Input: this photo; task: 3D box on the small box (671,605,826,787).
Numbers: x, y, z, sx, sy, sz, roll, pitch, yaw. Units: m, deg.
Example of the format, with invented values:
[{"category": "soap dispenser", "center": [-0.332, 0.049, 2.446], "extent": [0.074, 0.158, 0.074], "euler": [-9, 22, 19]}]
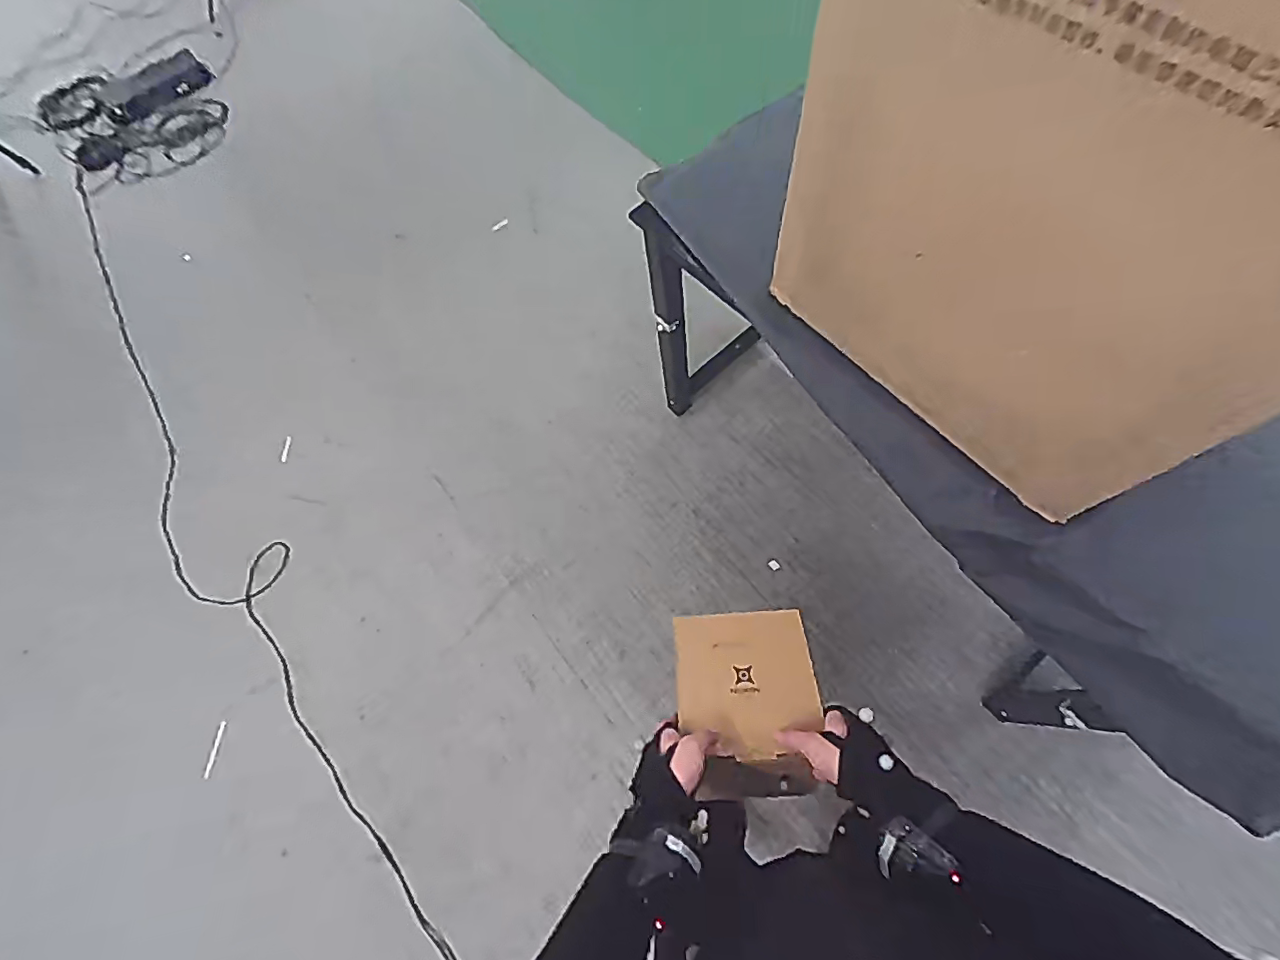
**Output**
[{"category": "small box", "center": [0.130, 0.286, 0.705], "extent": [0.168, 0.176, 0.179], "euler": [-4, 45, 3]}]
